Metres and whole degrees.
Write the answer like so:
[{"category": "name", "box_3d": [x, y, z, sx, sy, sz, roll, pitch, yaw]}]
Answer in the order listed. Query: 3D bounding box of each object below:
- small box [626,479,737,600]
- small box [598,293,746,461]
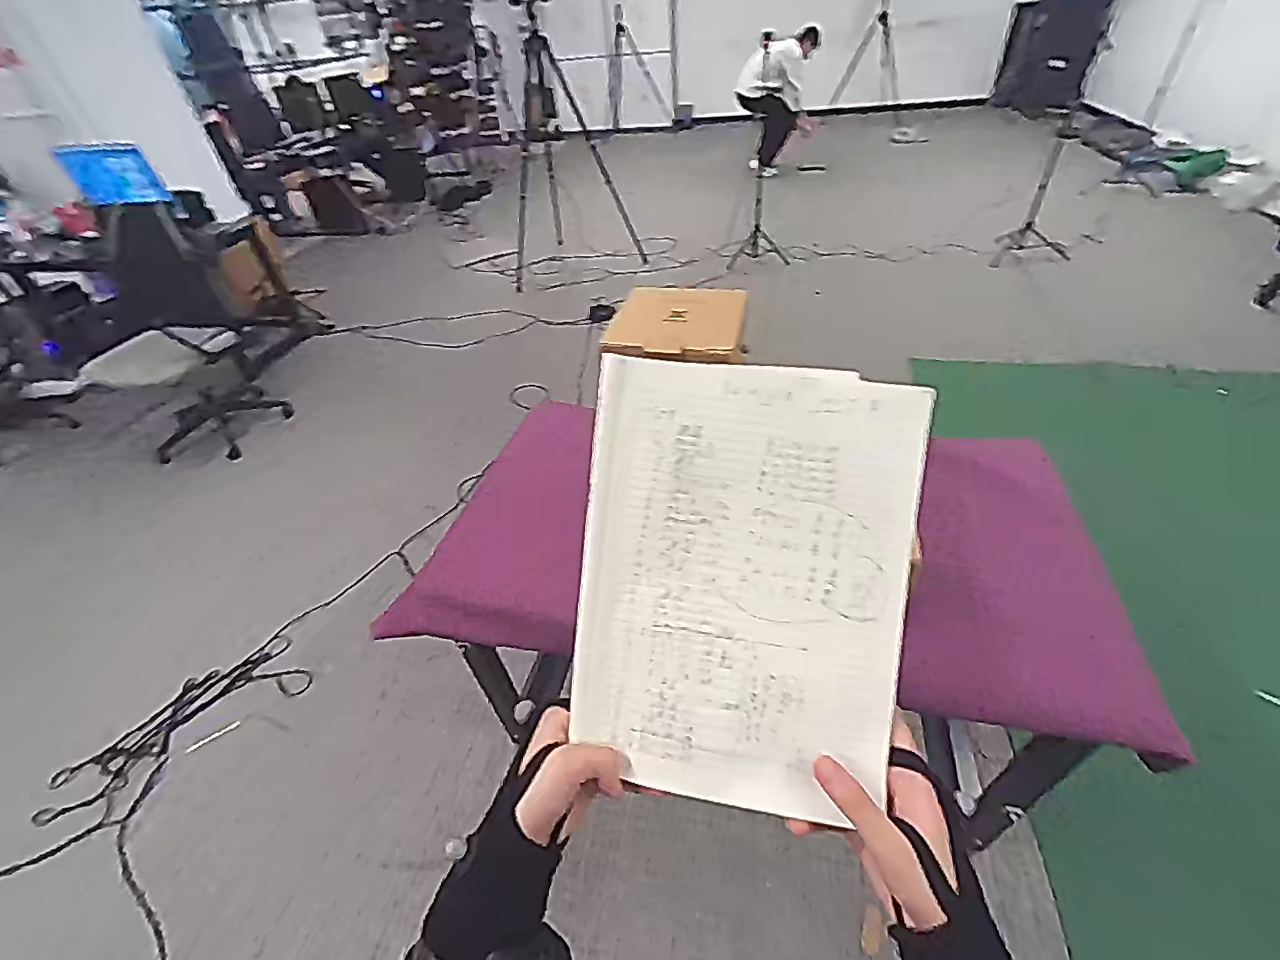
[{"category": "small box", "box_3d": [0.083, 0.094, 0.978, 0.168, 0.176, 0.179, 6, 43, 13]}, {"category": "small box", "box_3d": [0.054, -0.145, 0.755, 0.168, 0.176, 0.179, 7, 42, 14]}]
